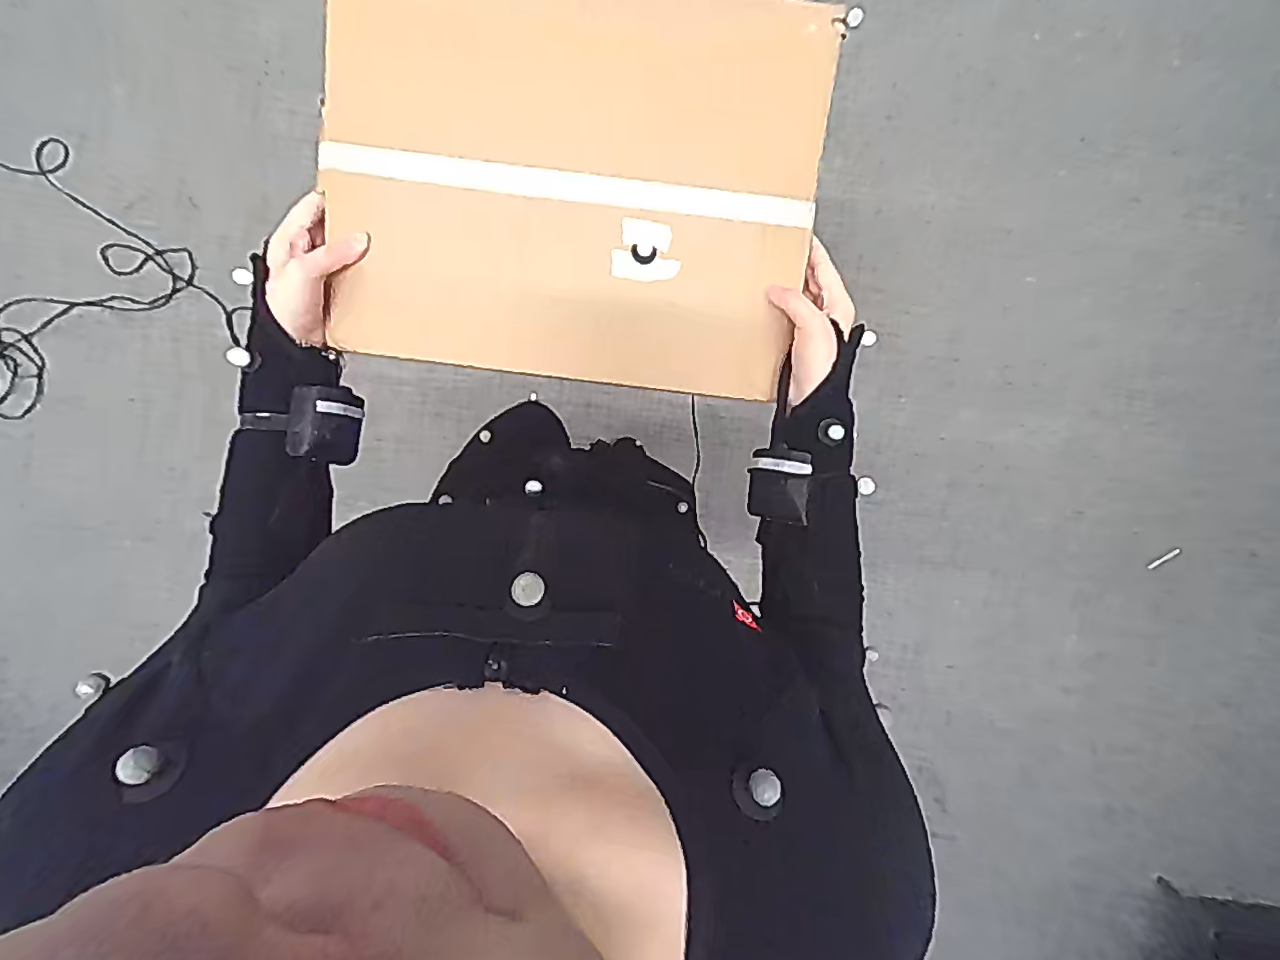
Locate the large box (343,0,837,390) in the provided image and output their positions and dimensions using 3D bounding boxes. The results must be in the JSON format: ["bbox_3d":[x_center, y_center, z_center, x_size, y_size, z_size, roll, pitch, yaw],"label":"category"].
[{"bbox_3d":[-0.055,-0.276,0.605,0.408,0.320,0.320,6,101,-3],"label":"large box"}]
